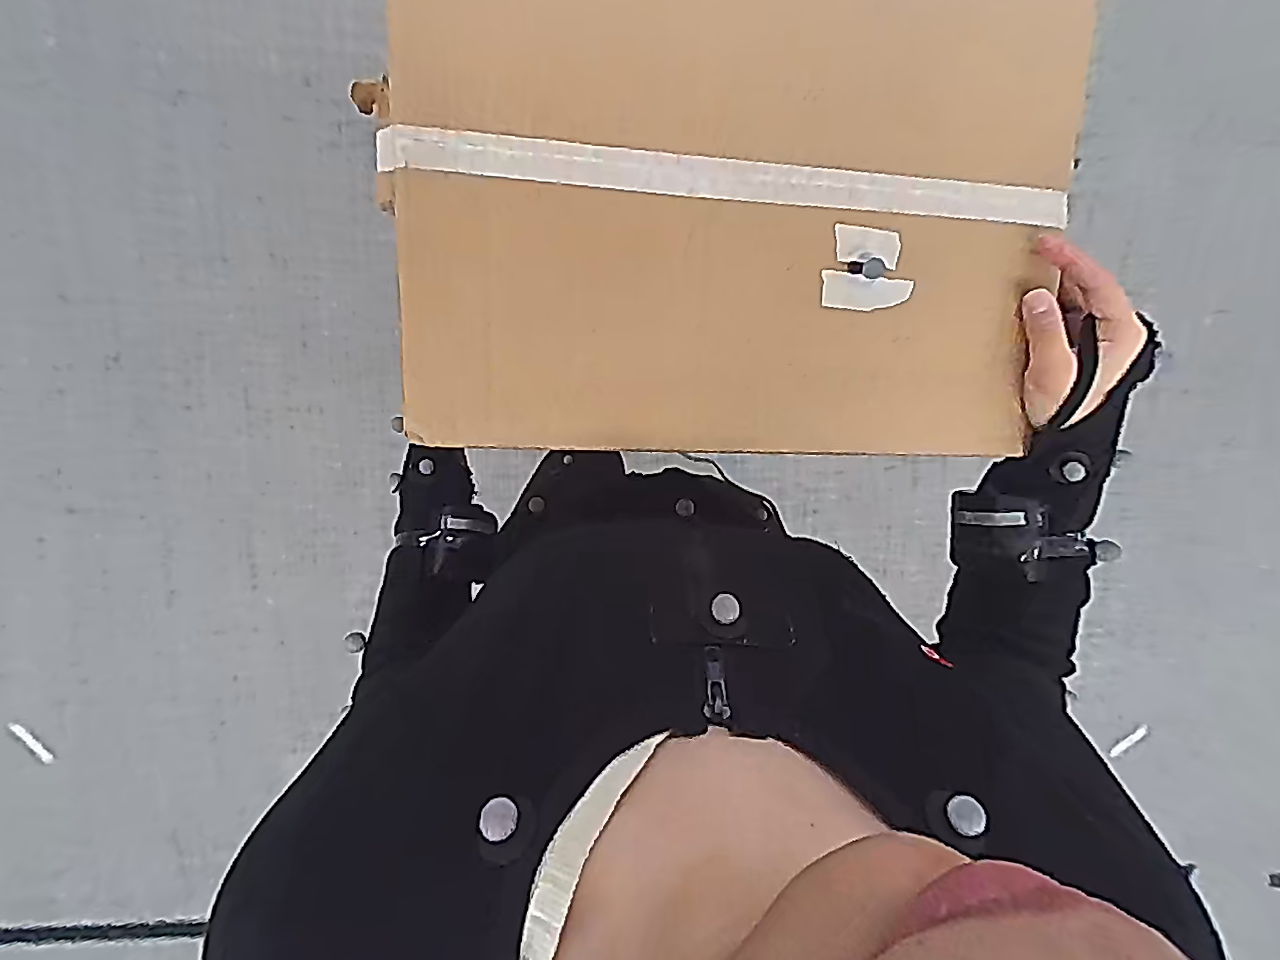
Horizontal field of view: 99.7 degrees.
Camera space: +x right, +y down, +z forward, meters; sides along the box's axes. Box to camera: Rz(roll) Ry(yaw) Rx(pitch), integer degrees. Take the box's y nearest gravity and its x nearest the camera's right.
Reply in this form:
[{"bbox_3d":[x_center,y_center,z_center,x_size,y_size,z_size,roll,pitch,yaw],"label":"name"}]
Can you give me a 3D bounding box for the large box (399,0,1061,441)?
[{"bbox_3d":[0.042,-0.202,0.471,0.408,0.320,0.320,0,100,-10],"label":"large box"}]
